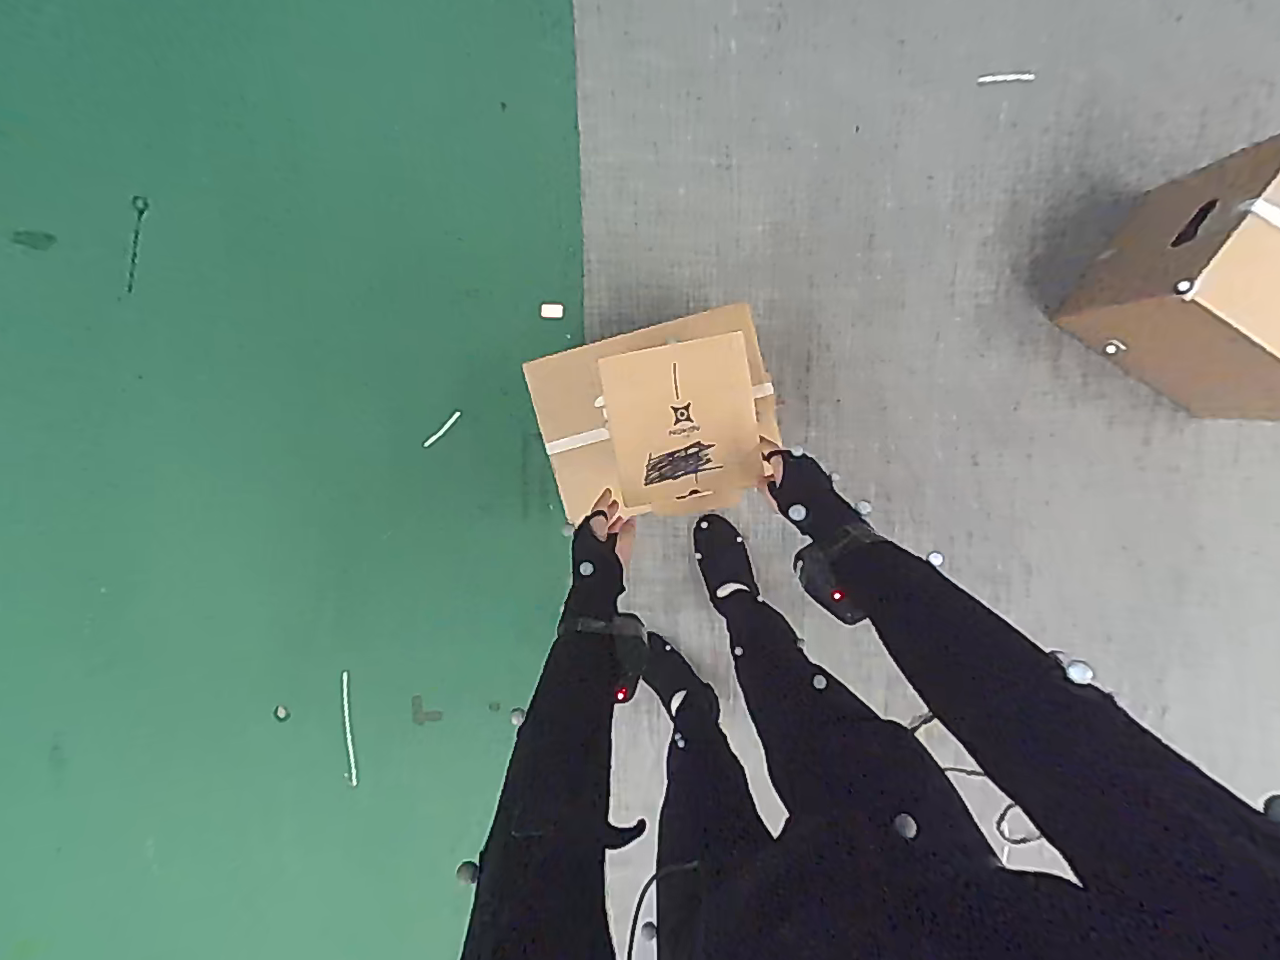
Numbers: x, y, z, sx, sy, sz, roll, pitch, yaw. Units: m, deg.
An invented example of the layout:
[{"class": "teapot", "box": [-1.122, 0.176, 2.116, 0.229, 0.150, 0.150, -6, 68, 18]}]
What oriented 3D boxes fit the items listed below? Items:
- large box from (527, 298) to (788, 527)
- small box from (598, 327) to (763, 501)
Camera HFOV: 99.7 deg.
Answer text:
[{"class": "large box", "box": [0.043, -0.133, 1.089, 0.408, 0.320, 0.320, -15, 96, 7]}, {"class": "small box", "box": [0.052, -0.085, 0.683, 0.168, 0.176, 0.179, -9, 99, 5]}]
